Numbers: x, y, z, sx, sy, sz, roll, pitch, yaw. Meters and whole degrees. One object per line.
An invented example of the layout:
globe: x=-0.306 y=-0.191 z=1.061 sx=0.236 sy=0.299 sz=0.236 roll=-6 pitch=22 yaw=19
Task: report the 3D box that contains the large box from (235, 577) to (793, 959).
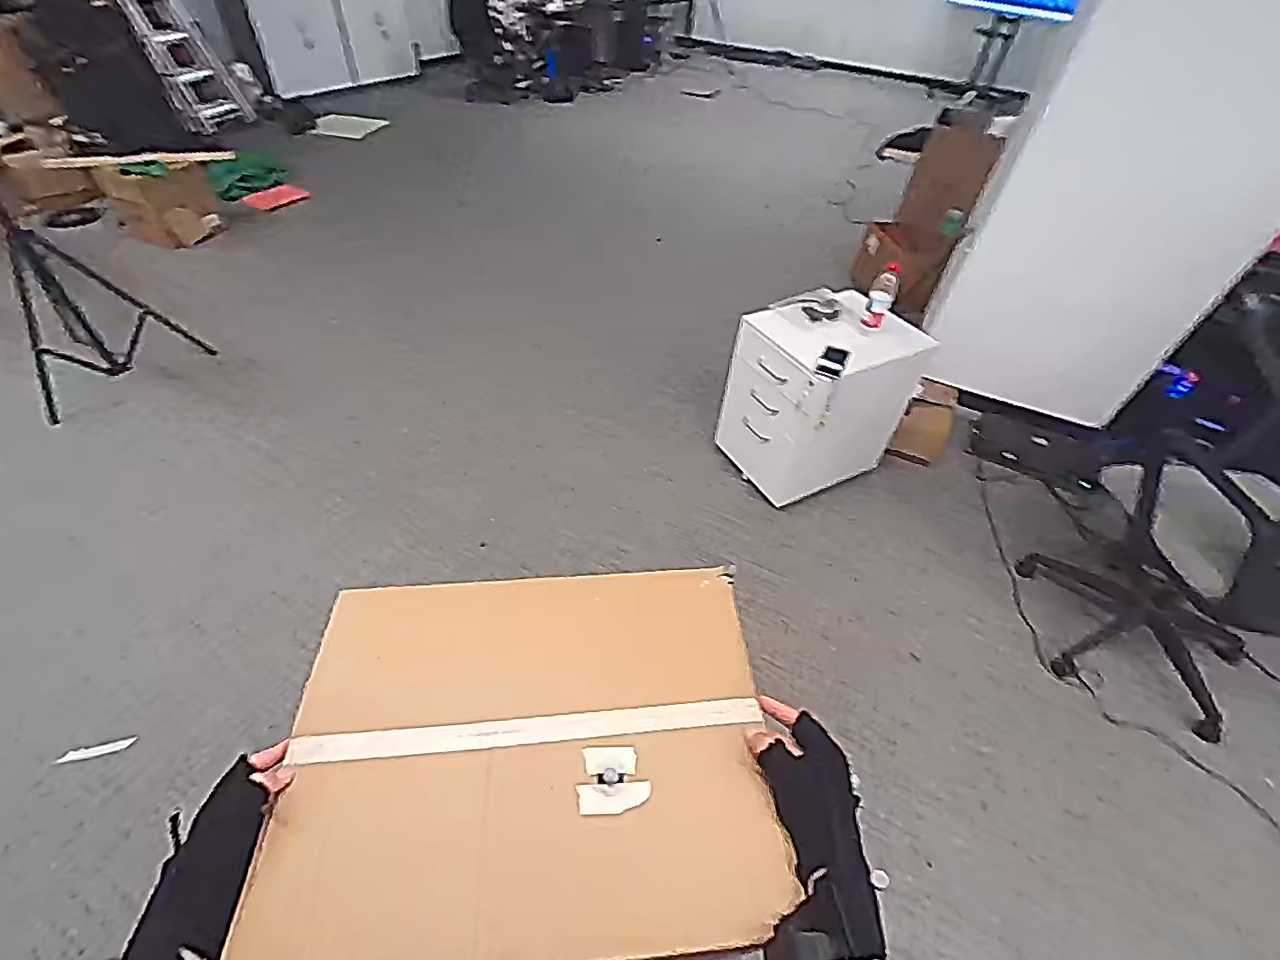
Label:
large box: x=-0.107 y=0.334 z=0.585 sx=0.408 sy=0.320 sz=0.320 roll=-3 pitch=48 yaw=-6
